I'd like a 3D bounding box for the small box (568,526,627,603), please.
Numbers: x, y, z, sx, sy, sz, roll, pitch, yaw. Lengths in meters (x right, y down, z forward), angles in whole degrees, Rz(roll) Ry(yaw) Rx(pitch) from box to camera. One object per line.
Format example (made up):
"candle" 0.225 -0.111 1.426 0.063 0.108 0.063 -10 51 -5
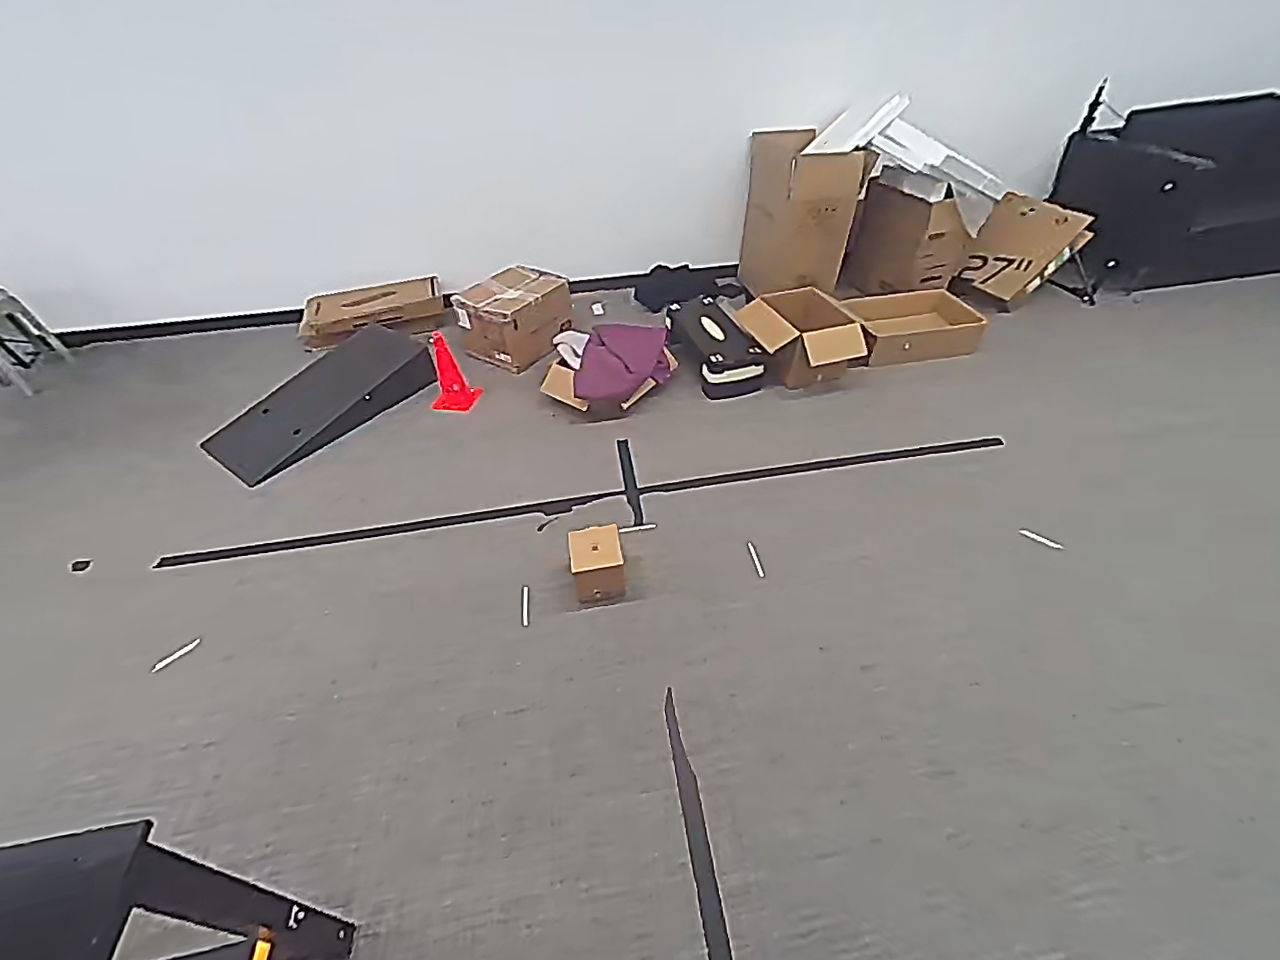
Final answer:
"small box" -0.141 0.280 1.795 0.168 0.176 0.179 -10 45 -5
